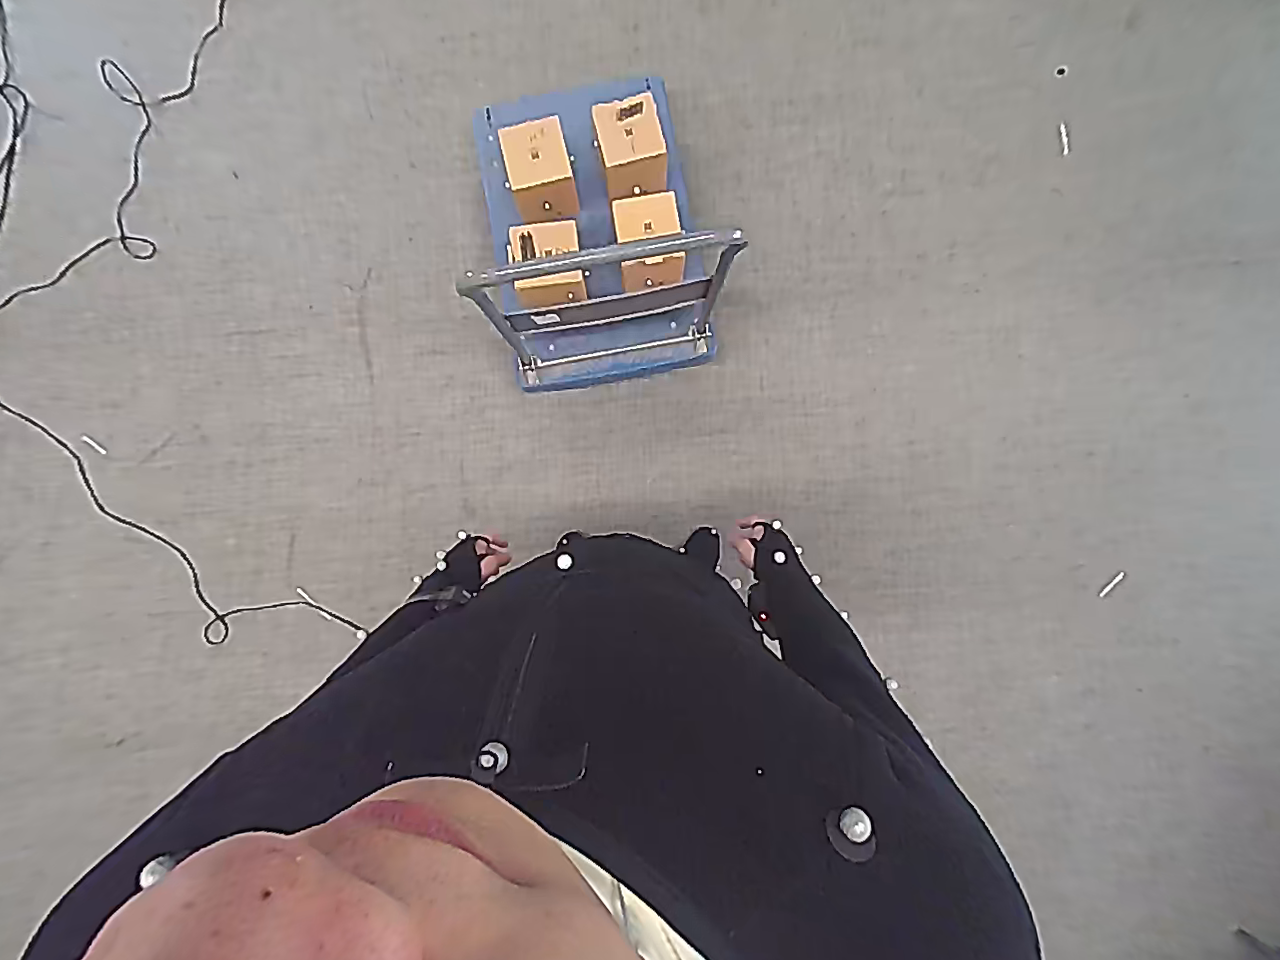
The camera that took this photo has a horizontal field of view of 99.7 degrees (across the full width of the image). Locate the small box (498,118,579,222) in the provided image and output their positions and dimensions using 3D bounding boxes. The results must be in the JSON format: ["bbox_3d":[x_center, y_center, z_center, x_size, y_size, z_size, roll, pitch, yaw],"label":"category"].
[{"bbox_3d":[-0.271,-0.835,1.479,0.168,0.176,0.179,-14,85,-1],"label":"small box"}]

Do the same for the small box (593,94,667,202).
[{"bbox_3d":[-0.027,-0.897,1.479,0.168,0.176,0.179,-14,87,1],"label":"small box"}]

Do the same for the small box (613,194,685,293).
[{"bbox_3d":[0.022,-0.632,1.460,0.168,0.176,0.179,-9,86,0],"label":"small box"}]
